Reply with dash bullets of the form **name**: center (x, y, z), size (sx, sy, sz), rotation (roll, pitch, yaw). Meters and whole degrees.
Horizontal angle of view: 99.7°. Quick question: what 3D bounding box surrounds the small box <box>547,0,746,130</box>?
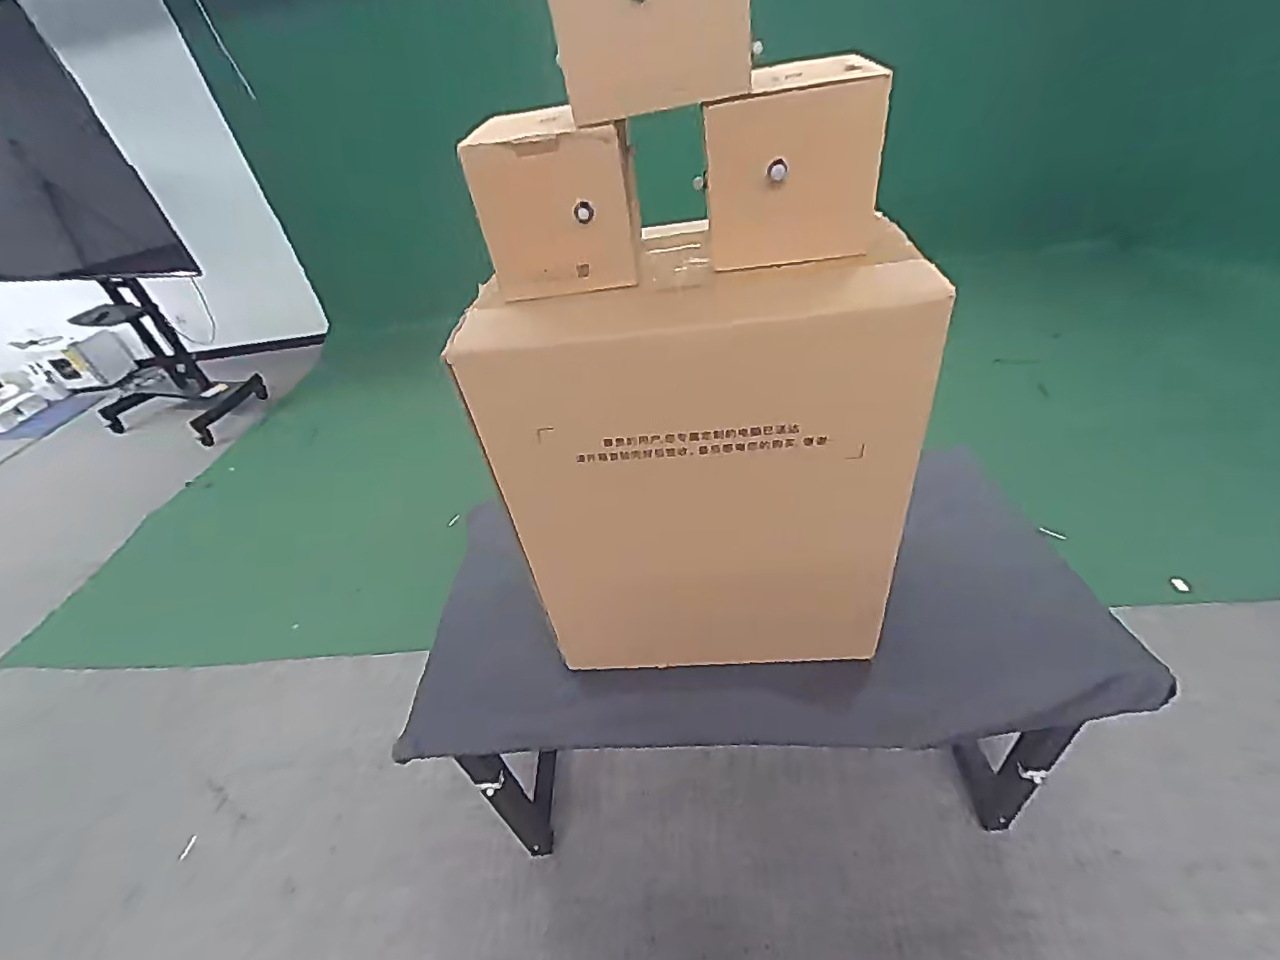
- **small box**: center (0.010, -0.467, 0.532), size (0.179, 0.176, 0.168), rotation (-6, 41, 8)

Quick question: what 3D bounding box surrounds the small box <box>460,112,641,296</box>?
- **small box**: center (-0.091, -0.334, 0.657), size (0.168, 0.176, 0.179), rotation (-4, 40, 6)

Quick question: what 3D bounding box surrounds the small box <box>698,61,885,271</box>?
- **small box**: center (0.163, -0.356, 0.624), size (0.179, 0.176, 0.168), rotation (-5, 42, 9)
